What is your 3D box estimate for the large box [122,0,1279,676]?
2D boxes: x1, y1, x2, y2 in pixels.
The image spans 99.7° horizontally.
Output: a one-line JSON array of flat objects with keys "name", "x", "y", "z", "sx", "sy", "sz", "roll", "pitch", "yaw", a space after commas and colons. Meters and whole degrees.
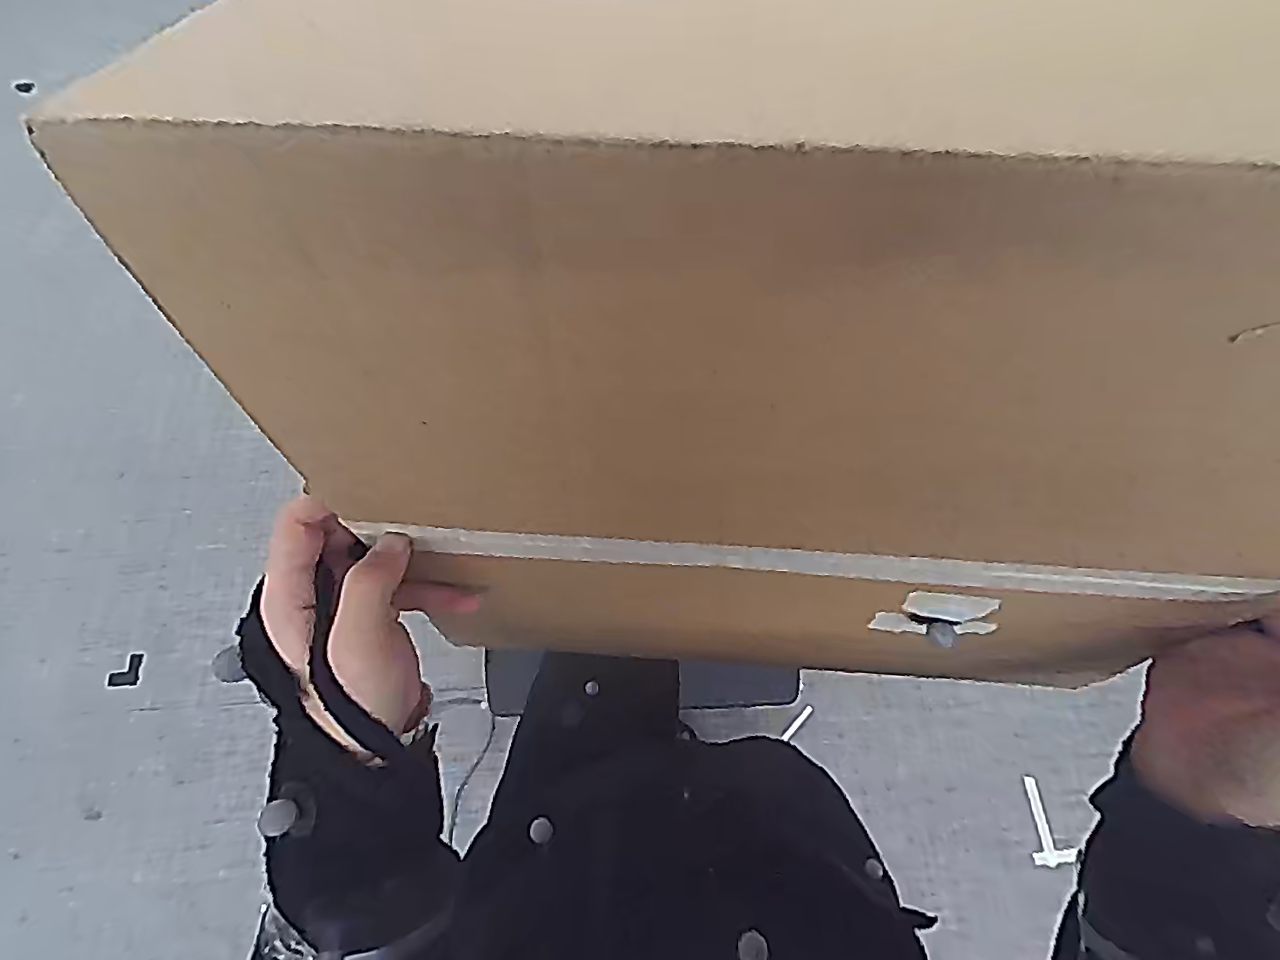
[{"name": "large box", "x": 0.080, "y": -0.090, "z": 0.324, "sx": 0.408, "sy": 0.320, "sz": 0.320, "roll": 2, "pitch": 55, "yaw": 2}]
